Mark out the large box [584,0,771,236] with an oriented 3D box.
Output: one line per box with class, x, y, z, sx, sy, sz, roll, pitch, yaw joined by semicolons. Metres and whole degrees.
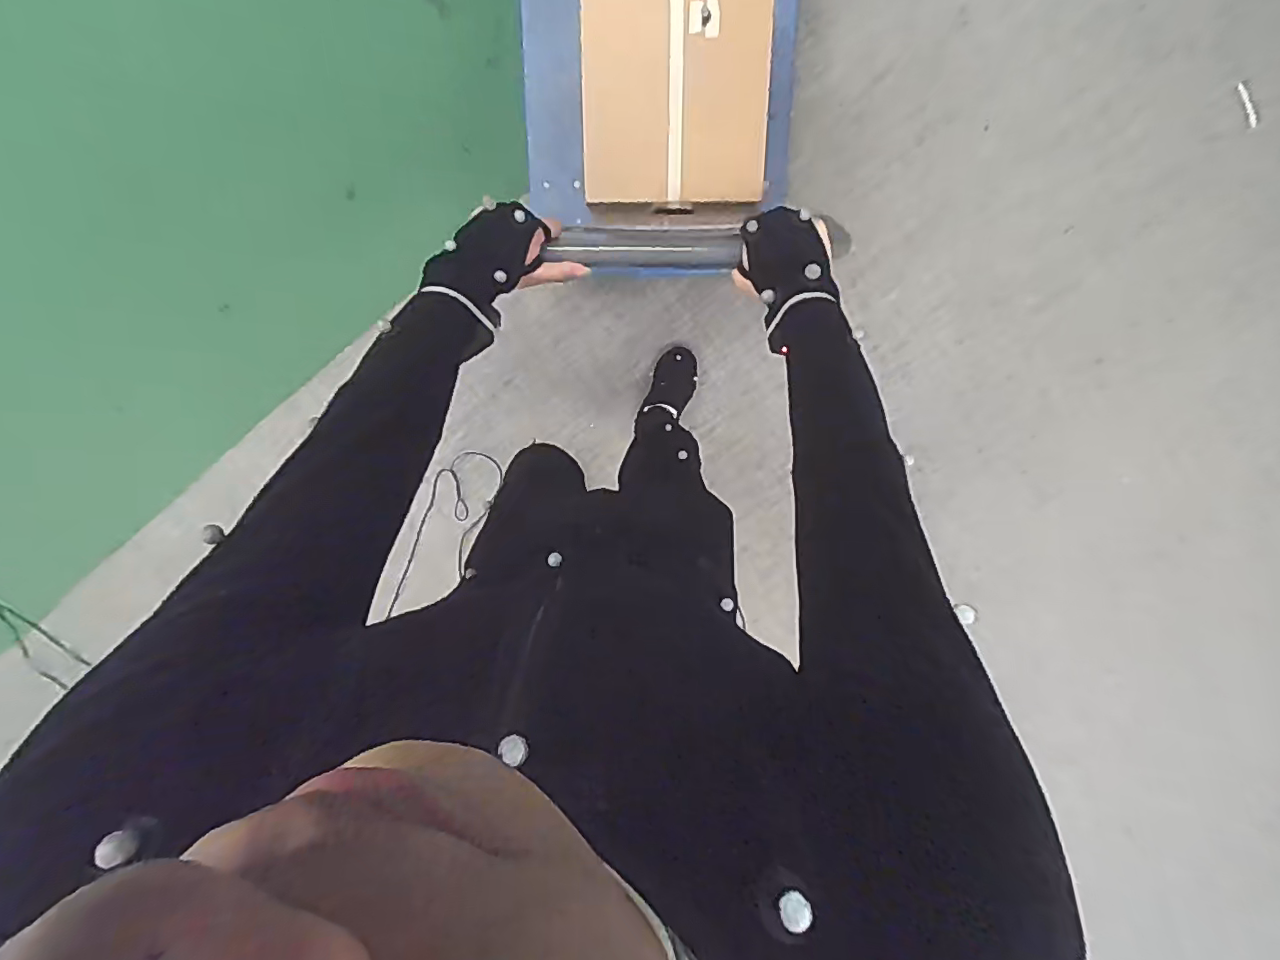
large box;0.069;-0.720;1.061;0.320;0.320;0.408;1;106;2
